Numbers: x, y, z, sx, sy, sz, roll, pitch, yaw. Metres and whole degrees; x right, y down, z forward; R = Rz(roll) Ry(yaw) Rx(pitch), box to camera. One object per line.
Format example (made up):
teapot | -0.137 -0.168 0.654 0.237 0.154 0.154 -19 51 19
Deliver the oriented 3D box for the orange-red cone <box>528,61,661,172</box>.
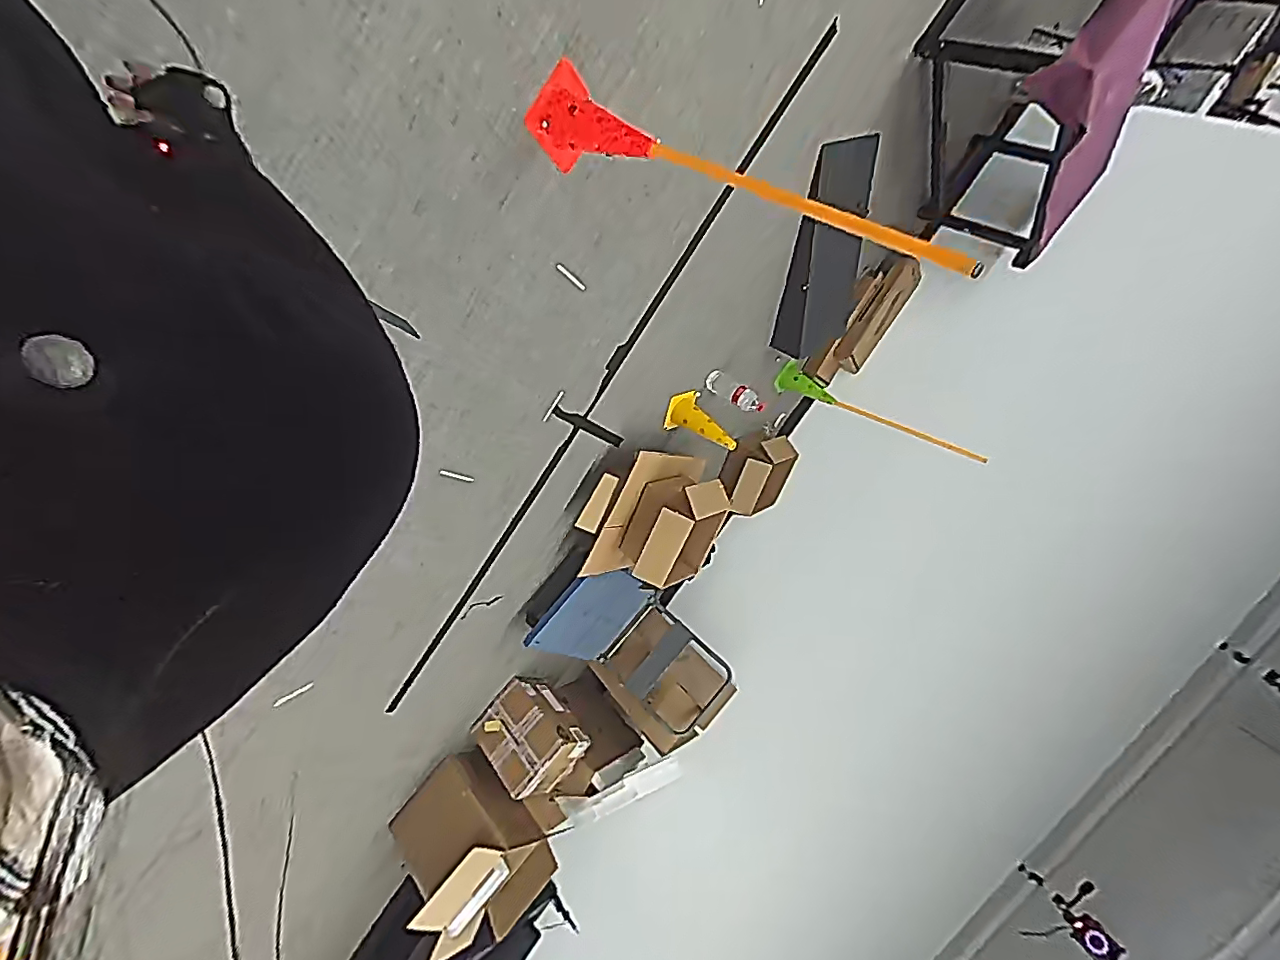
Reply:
orange-red cone | -0.081 -0.883 1.379 0.198 0.360 0.199 -53 151 4
